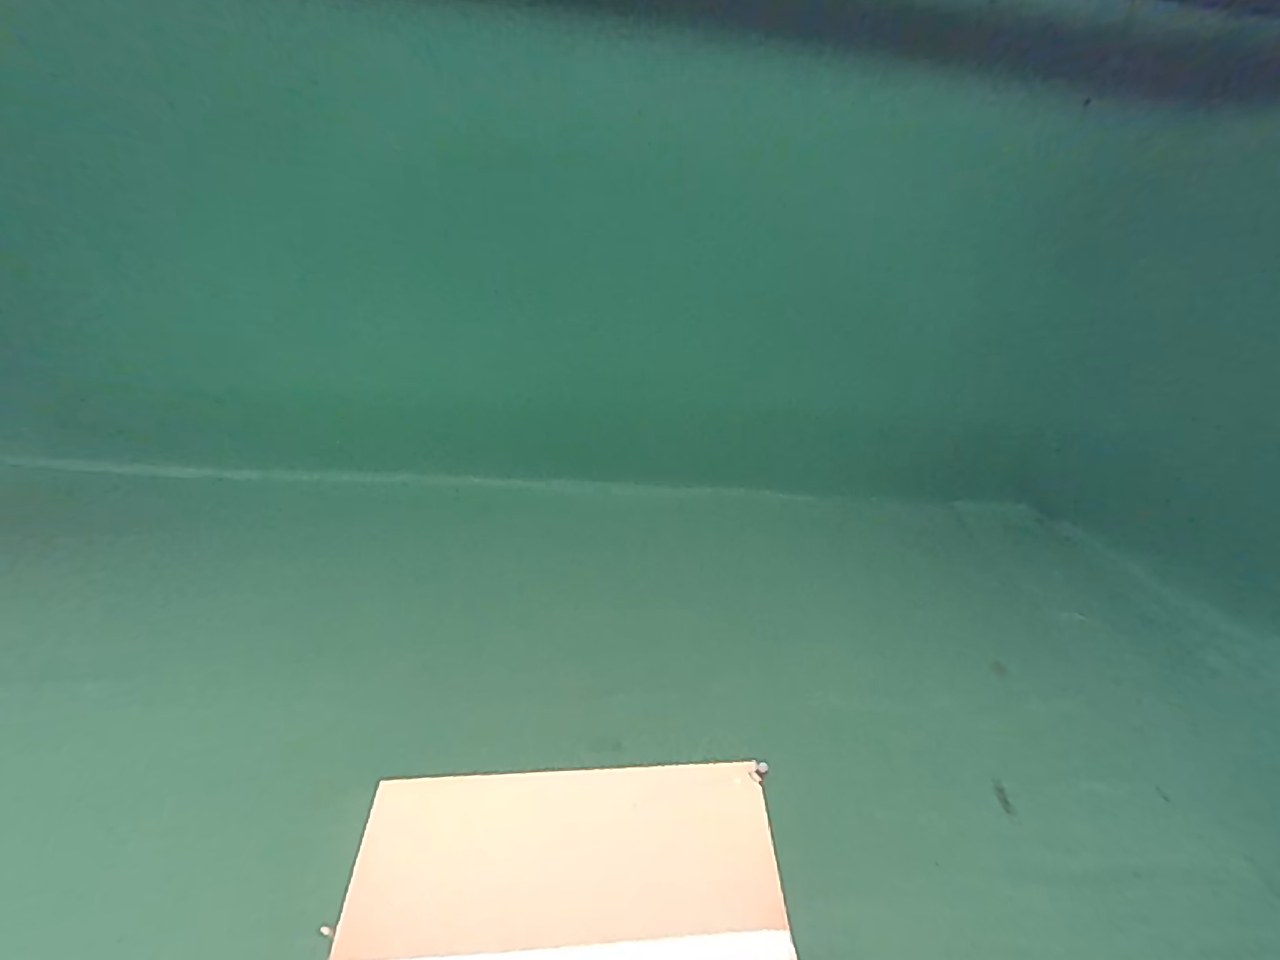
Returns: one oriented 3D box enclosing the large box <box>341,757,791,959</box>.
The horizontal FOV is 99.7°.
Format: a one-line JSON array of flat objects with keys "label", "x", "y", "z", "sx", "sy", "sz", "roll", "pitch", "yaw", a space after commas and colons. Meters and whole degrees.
[{"label": "large box", "x": -0.071, "y": 0.530, "z": 0.579, "sx": 0.408, "sy": 0.320, "sz": 0.320, "roll": -1, "pitch": 43, "yaw": -4}]
